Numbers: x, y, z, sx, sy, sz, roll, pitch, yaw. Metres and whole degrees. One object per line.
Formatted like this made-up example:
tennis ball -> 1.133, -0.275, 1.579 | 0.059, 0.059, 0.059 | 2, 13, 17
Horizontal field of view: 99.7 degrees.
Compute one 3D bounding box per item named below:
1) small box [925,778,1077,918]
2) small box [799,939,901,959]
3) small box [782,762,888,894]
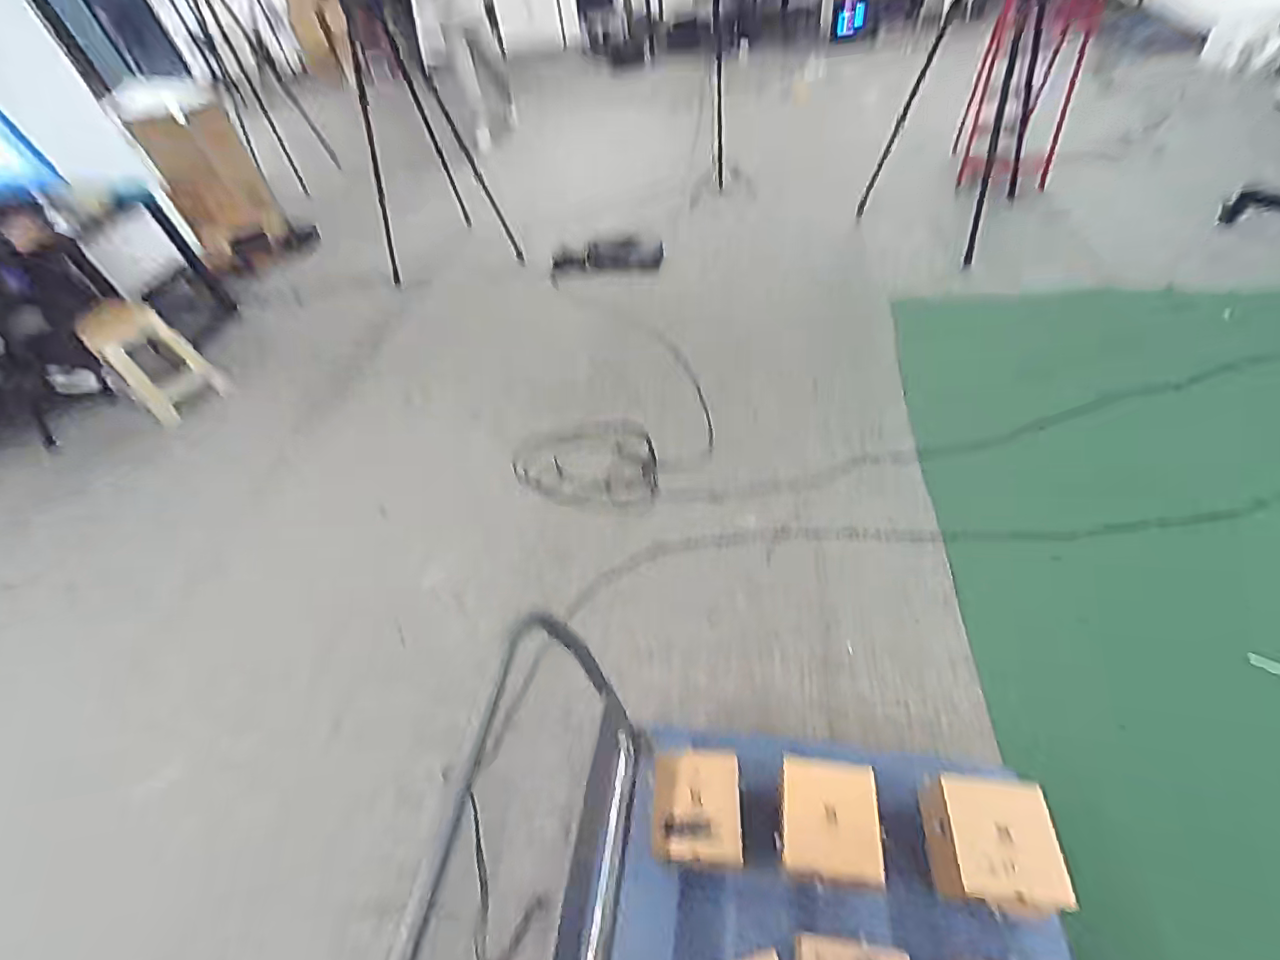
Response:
small box -> 0.638, 0.670, 0.985 | 0.168, 0.176, 0.179 | 0, 48, 12
small box -> 0.345, 0.865, 0.863 | 0.168, 0.176, 0.179 | 2, 49, 12
small box -> 0.364, 0.670, 1.041 | 0.168, 0.176, 0.179 | 2, 50, 12
